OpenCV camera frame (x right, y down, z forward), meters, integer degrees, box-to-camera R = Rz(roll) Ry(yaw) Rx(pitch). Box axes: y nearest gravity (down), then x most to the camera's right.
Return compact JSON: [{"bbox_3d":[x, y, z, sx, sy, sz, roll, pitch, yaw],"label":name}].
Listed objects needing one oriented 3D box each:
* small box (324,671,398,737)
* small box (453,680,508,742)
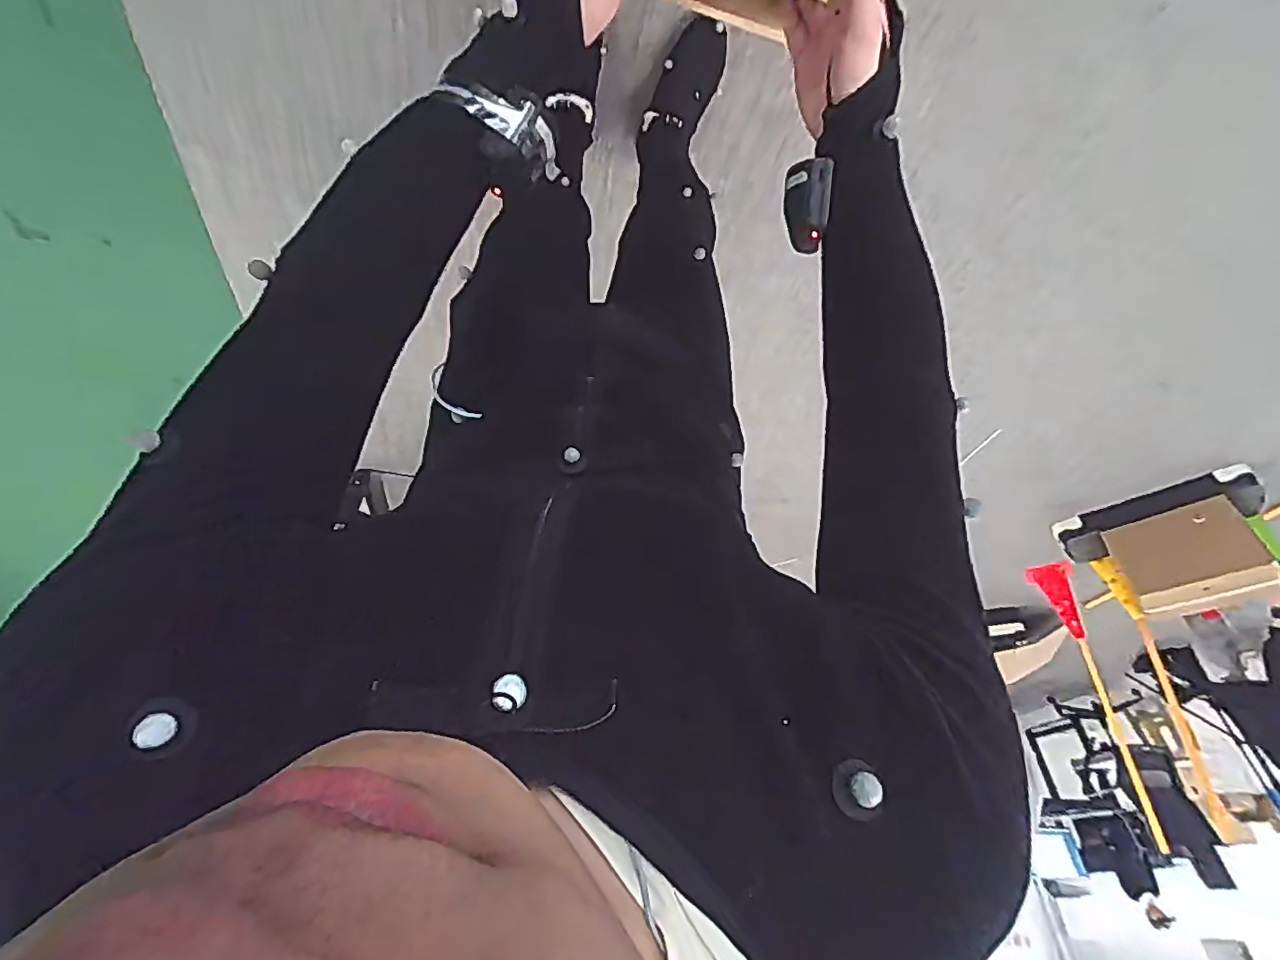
[{"bbox_3d":[-0.944,0.763,1.844,0.179,0.176,0.168,9,141,-12],"label":"small box"},{"bbox_3d":[-0.565,0.819,1.920,0.168,0.176,0.179,8,142,-10],"label":"small box"}]
